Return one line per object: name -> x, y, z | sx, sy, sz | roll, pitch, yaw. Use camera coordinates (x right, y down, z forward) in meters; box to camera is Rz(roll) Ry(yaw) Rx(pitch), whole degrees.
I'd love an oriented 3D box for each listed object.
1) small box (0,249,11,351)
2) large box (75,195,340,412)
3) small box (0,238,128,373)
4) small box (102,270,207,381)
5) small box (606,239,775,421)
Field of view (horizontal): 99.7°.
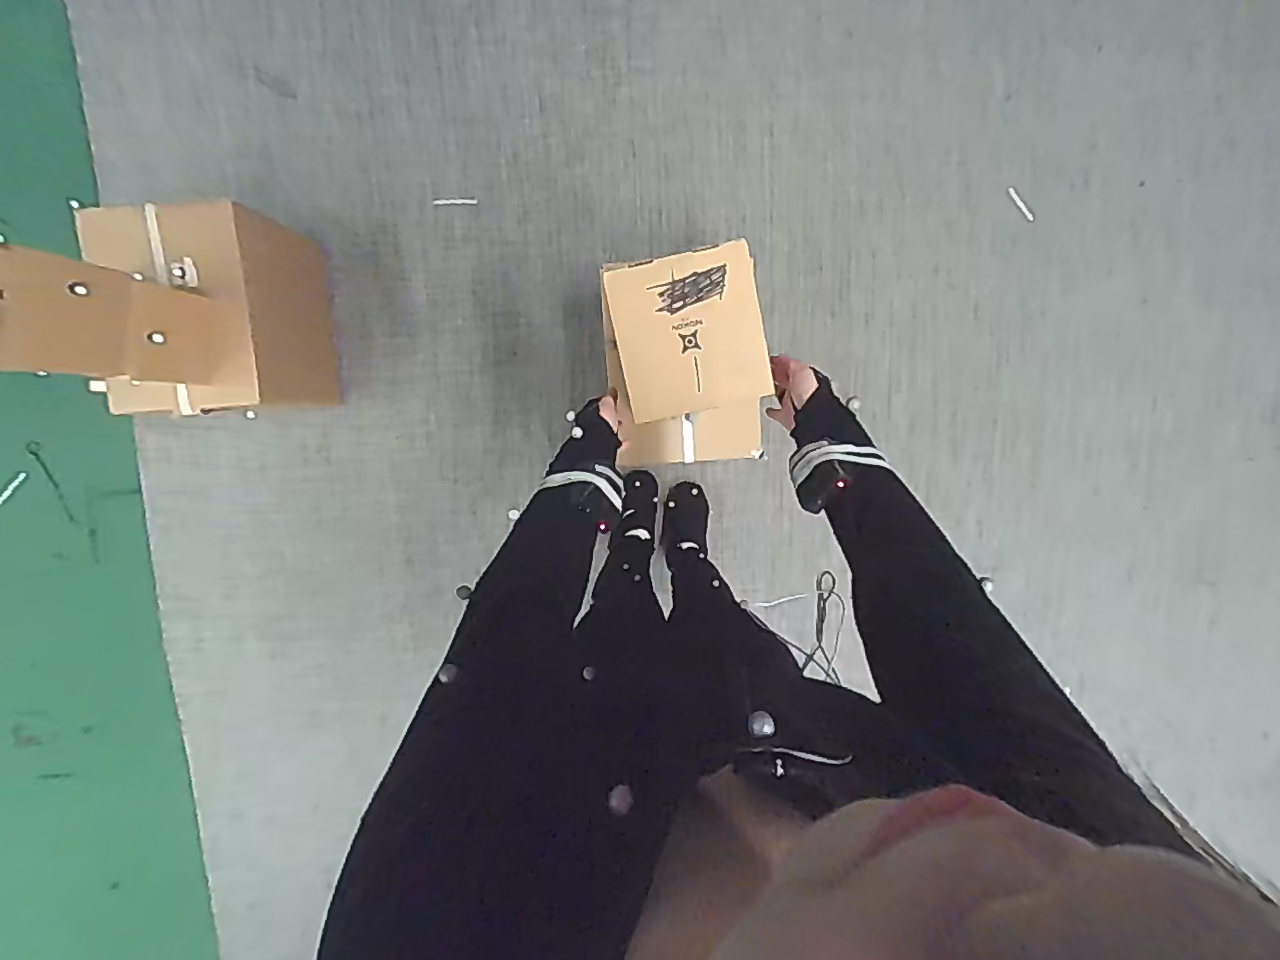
small box -> -0.952, -0.240, 0.666 | 0.179, 0.176, 0.168 | 12, 98, -1
large box -> -0.936, -0.366, 1.224 | 0.320, 0.320, 0.408 | -4, 97, 0
small box -> -0.942, -0.268, 0.828 | 0.168, 0.176, 0.179 | 11, 99, -1
small box -> -0.938, -0.281, 0.991 | 0.168, 0.176, 0.179 | 7, 98, -1
small box -> 0.057, -0.176, 0.684 | 0.168, 0.176, 0.179 | -12, 99, 3
